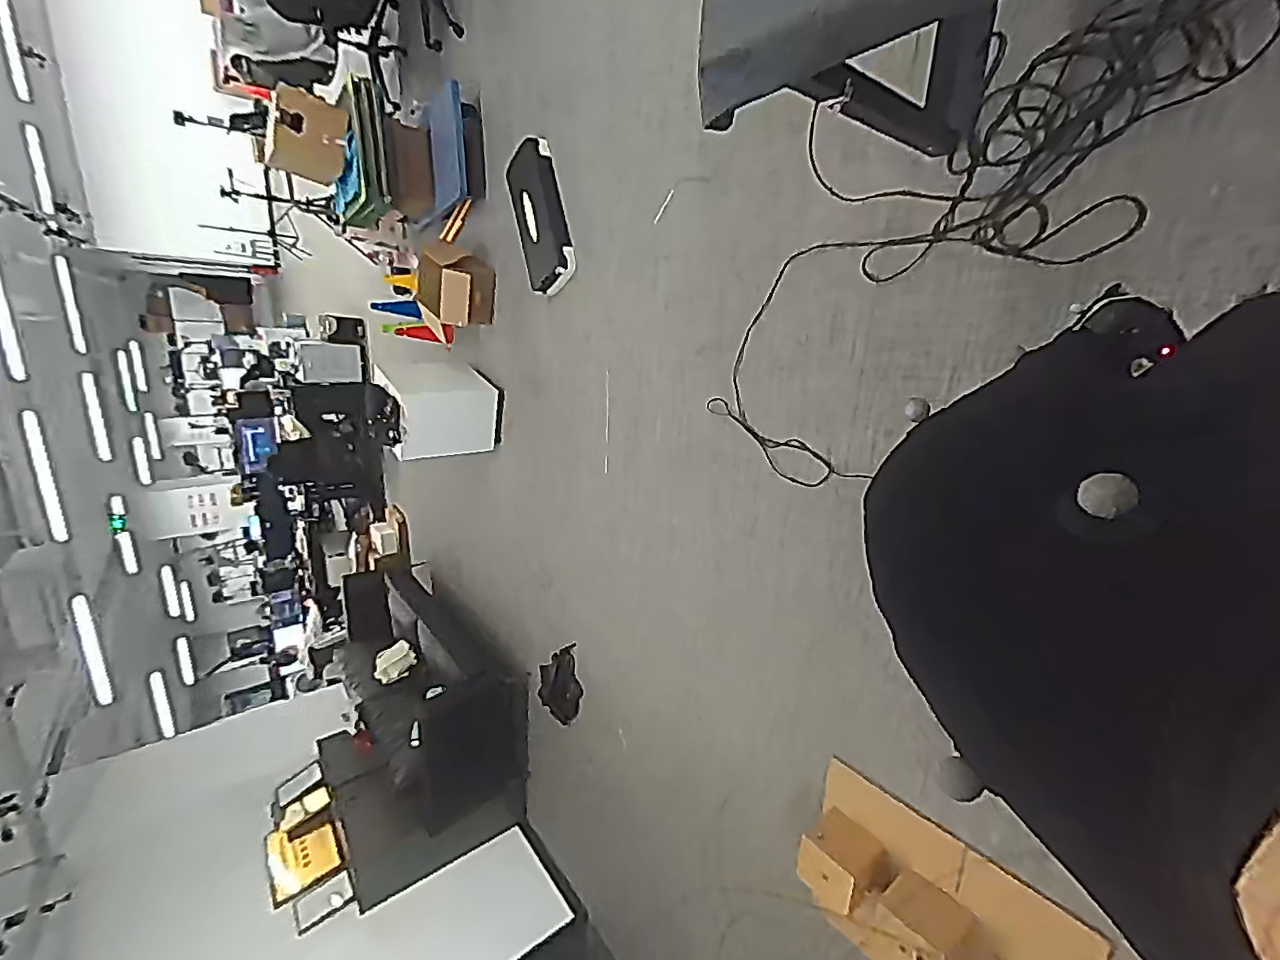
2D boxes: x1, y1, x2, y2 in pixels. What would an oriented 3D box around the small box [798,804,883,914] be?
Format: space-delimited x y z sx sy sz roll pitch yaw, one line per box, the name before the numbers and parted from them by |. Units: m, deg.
small box | 0.605 1.129 1.629 0.179 0.176 0.168 21 115 49
